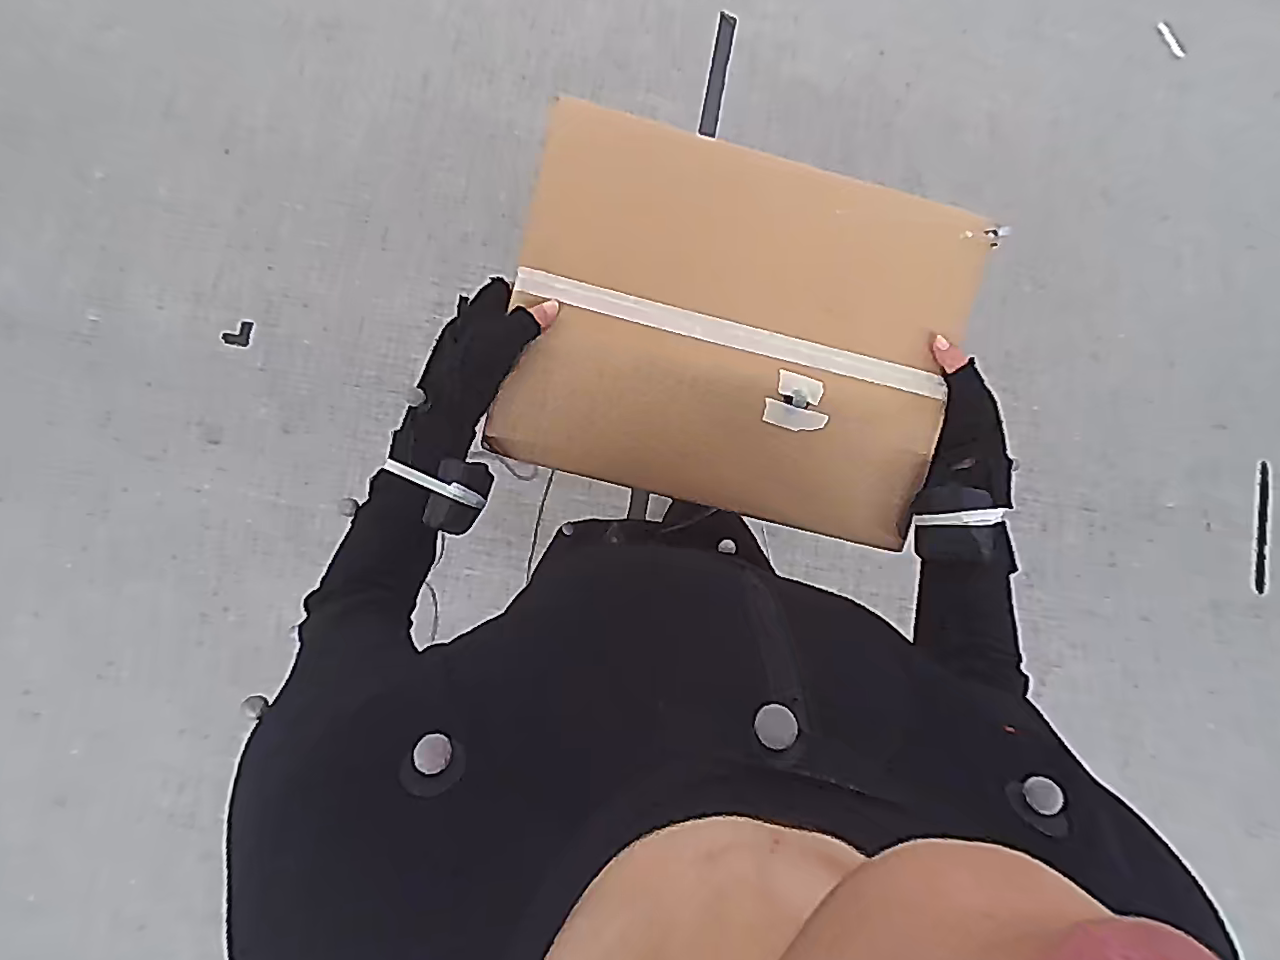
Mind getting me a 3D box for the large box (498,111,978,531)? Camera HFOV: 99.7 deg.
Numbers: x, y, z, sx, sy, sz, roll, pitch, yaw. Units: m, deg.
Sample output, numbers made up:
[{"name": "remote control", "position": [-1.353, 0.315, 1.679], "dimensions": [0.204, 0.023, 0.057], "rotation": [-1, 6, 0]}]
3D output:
[{"name": "large box", "position": [0.082, -0.154, 0.652], "dimensions": [0.408, 0.320, 0.320], "rotation": [14, 97, -4]}]
